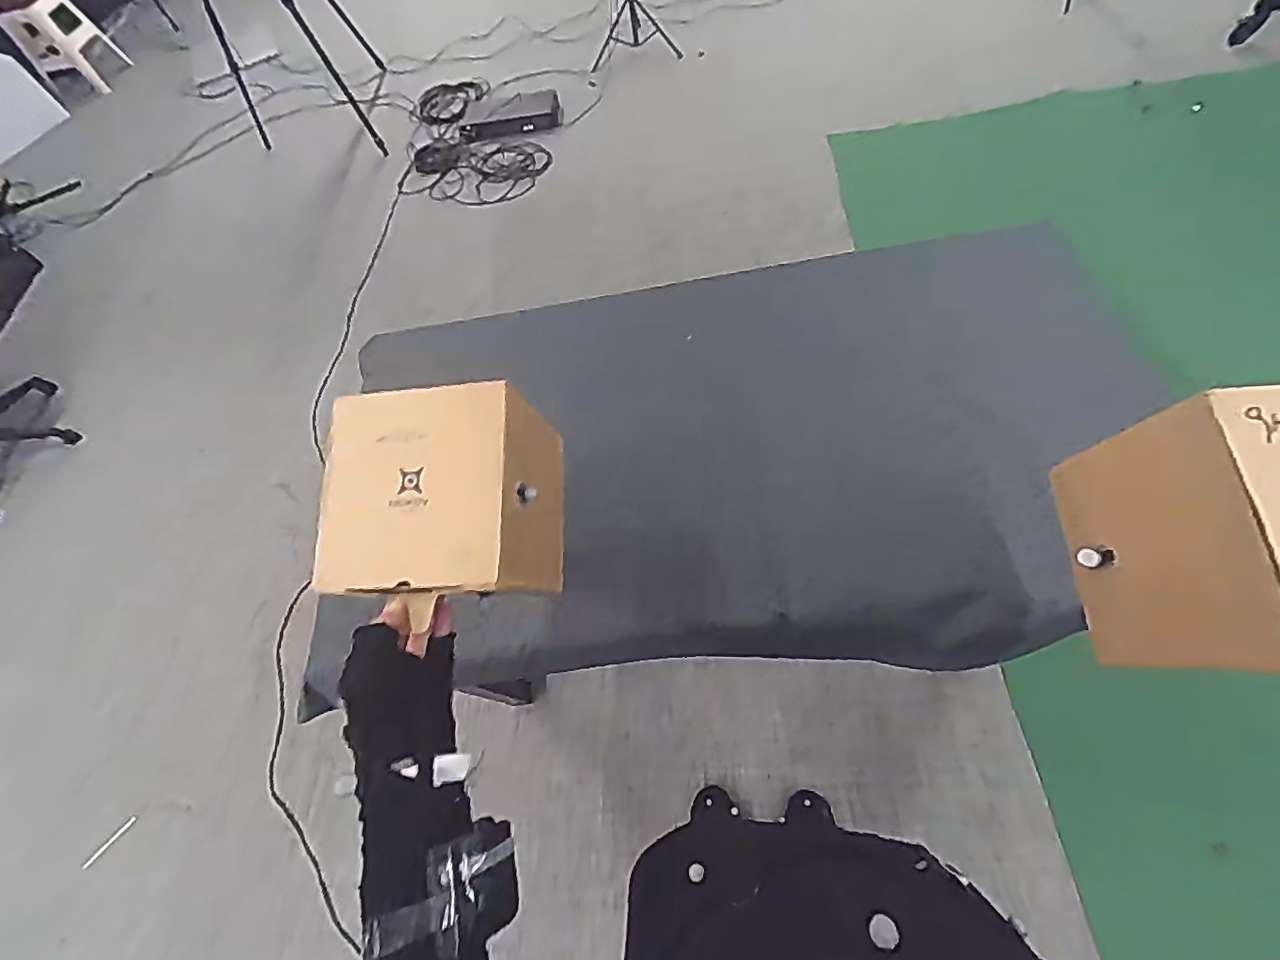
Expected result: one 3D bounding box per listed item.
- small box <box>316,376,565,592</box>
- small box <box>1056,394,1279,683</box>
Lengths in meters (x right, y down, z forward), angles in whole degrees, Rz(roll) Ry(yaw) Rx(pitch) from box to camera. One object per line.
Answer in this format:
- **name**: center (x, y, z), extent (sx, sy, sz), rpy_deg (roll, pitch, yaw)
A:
- **small box**: center (-0.175, 0.019, 0.527), extent (0.168, 0.176, 0.179), rpy_deg (-4, 75, 8)
- **small box**: center (0.454, 0.048, 0.391), extent (0.168, 0.176, 0.179), rpy_deg (-3, 73, 4)
